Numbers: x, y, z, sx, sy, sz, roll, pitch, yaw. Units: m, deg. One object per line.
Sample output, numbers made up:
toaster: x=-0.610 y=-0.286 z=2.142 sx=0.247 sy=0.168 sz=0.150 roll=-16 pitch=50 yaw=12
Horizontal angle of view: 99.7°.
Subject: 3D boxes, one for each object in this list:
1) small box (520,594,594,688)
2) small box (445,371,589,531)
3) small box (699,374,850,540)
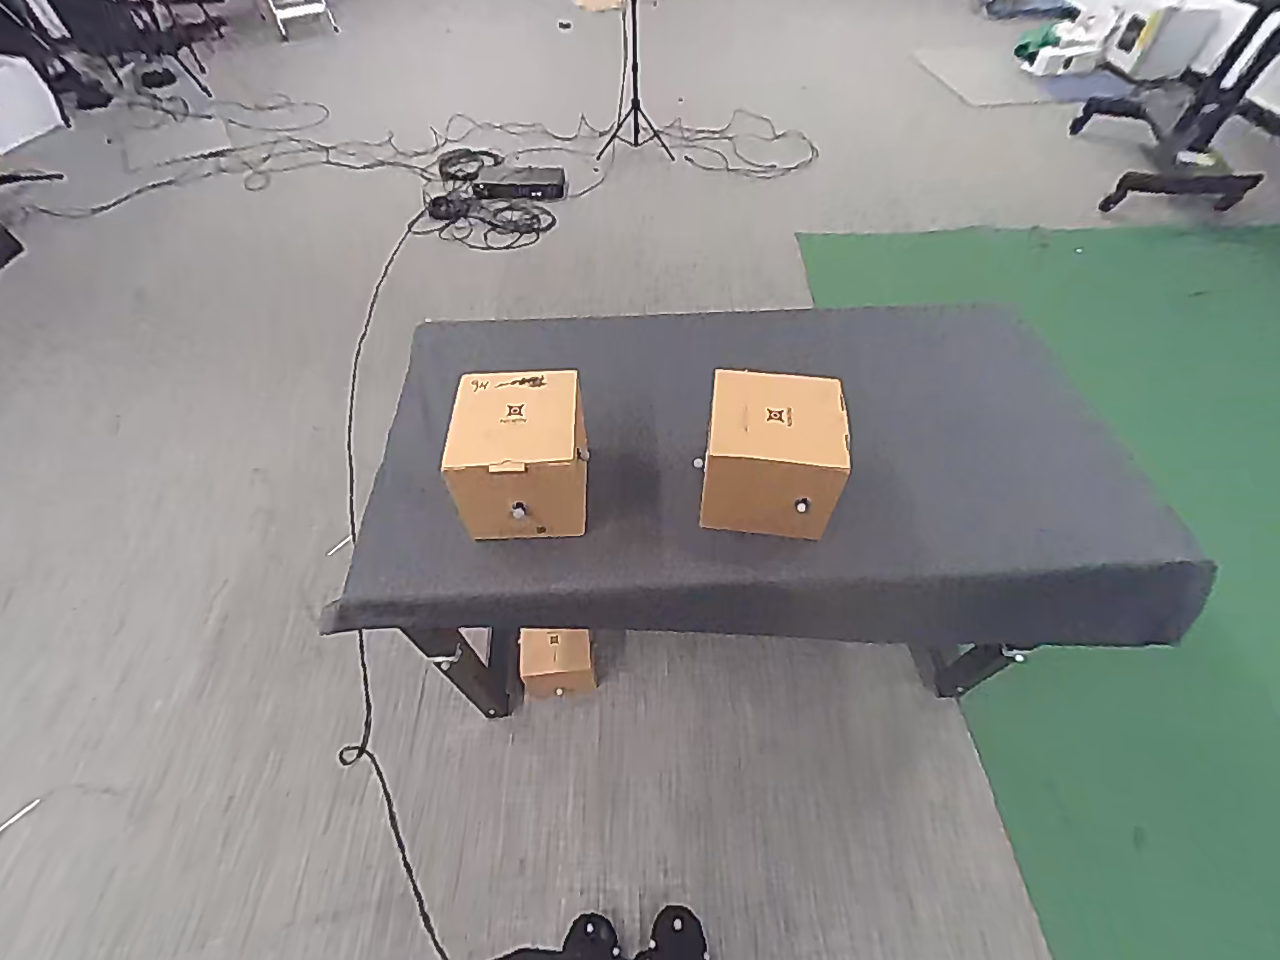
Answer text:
small box: x=-0.205 y=0.408 z=1.365 sx=0.168 sy=0.176 sz=0.179 roll=-5 pitch=55 yaw=-3
small box: x=-0.163 y=-0.036 z=0.785 sx=0.168 sy=0.176 sz=0.179 roll=-1 pitch=53 yaw=-1
small box: x=0.185 y=-0.029 z=0.782 sx=0.179 sy=0.176 sz=0.168 roll=6 pitch=52 yaw=6
